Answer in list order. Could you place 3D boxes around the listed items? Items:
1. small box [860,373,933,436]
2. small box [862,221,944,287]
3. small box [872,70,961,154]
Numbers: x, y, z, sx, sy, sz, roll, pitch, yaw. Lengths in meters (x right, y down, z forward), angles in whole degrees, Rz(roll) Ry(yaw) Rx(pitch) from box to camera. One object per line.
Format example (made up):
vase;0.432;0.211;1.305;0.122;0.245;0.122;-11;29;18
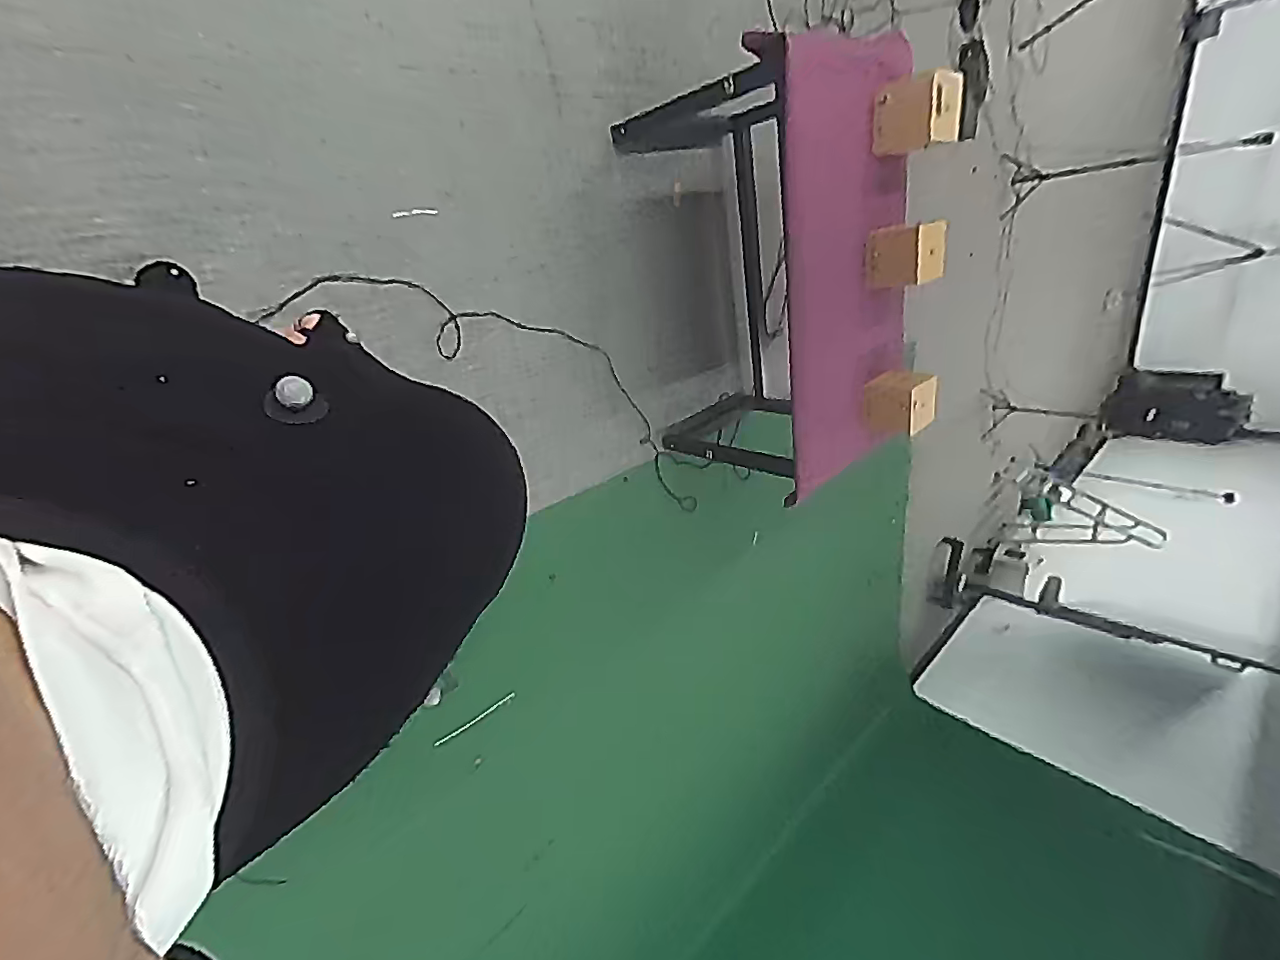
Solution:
small box;0.877;-0.266;1.855;0.179;0.176;0.168;-28;118;-34
small box;0.812;-0.697;1.674;0.179;0.176;0.168;-26;118;-33
small box;0.784;-1.041;1.543;0.179;0.176;0.168;-24;118;-34
